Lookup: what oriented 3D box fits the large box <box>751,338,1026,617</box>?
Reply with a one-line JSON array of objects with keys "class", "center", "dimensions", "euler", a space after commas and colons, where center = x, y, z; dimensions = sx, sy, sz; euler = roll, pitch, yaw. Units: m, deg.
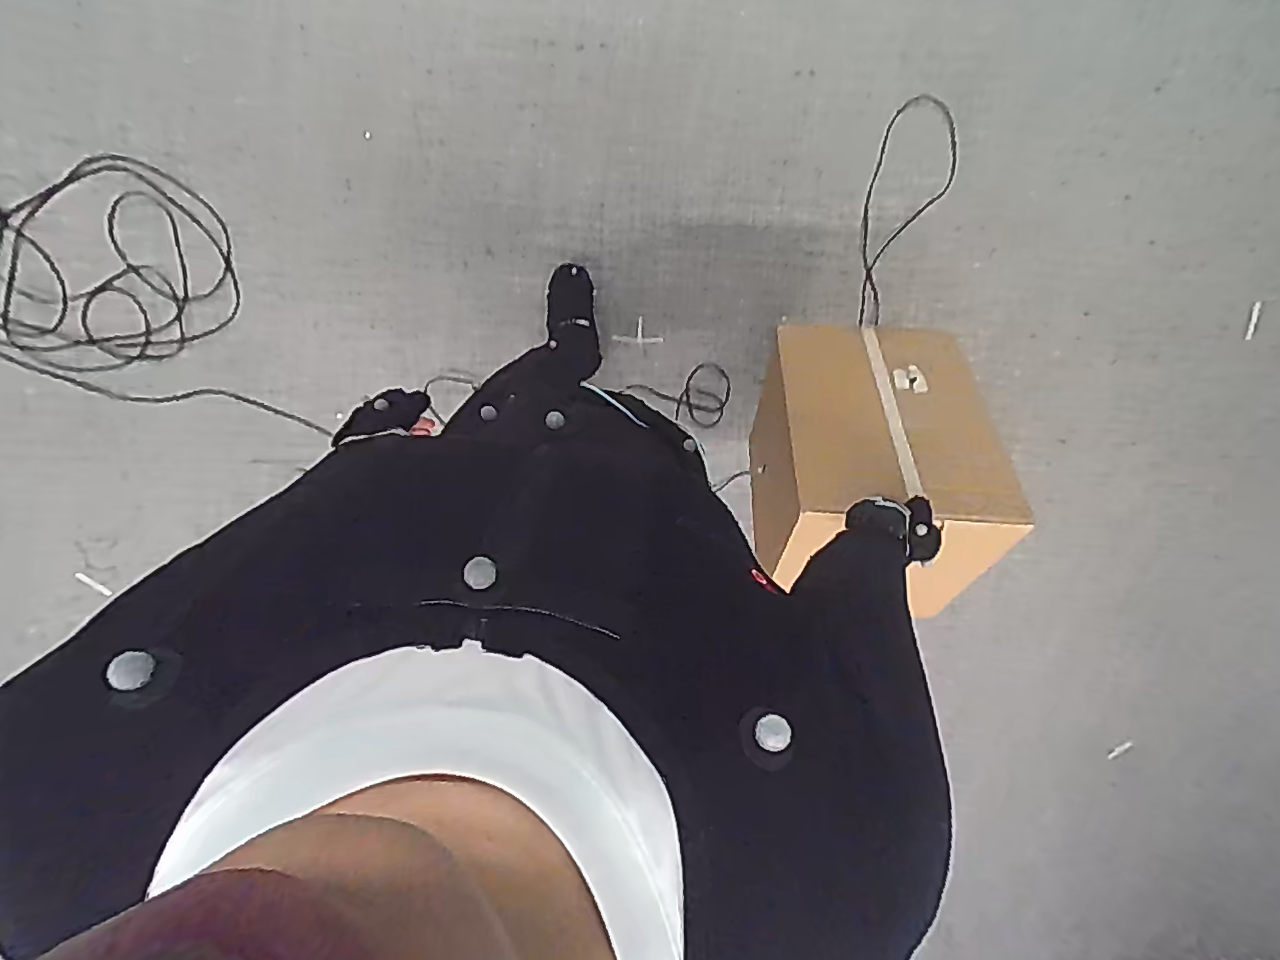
[{"class": "large box", "center": [0.386, -0.003, 0.975], "dimensions": [0.320, 0.408, 0.320], "euler": [4, 141, 2]}]
